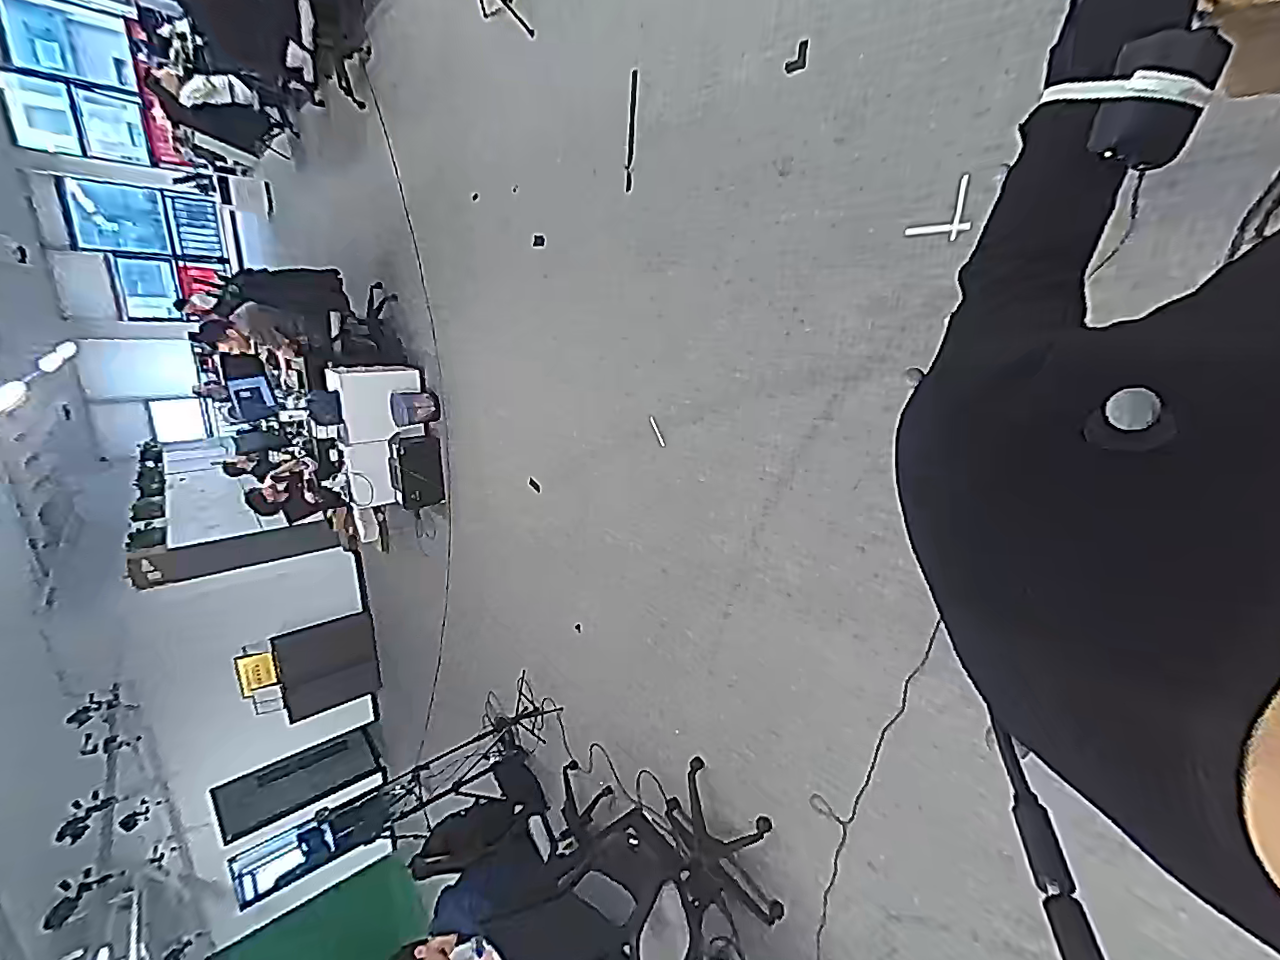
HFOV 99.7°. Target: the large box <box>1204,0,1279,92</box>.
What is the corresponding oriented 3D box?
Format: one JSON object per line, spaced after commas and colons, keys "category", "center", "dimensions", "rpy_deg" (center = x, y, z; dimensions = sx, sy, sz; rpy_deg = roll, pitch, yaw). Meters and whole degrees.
{"category": "large box", "center": [0.587, -0.418, 0.238], "dimensions": [0.408, 0.320, 0.320], "rpy_deg": [23, 123, 42]}
